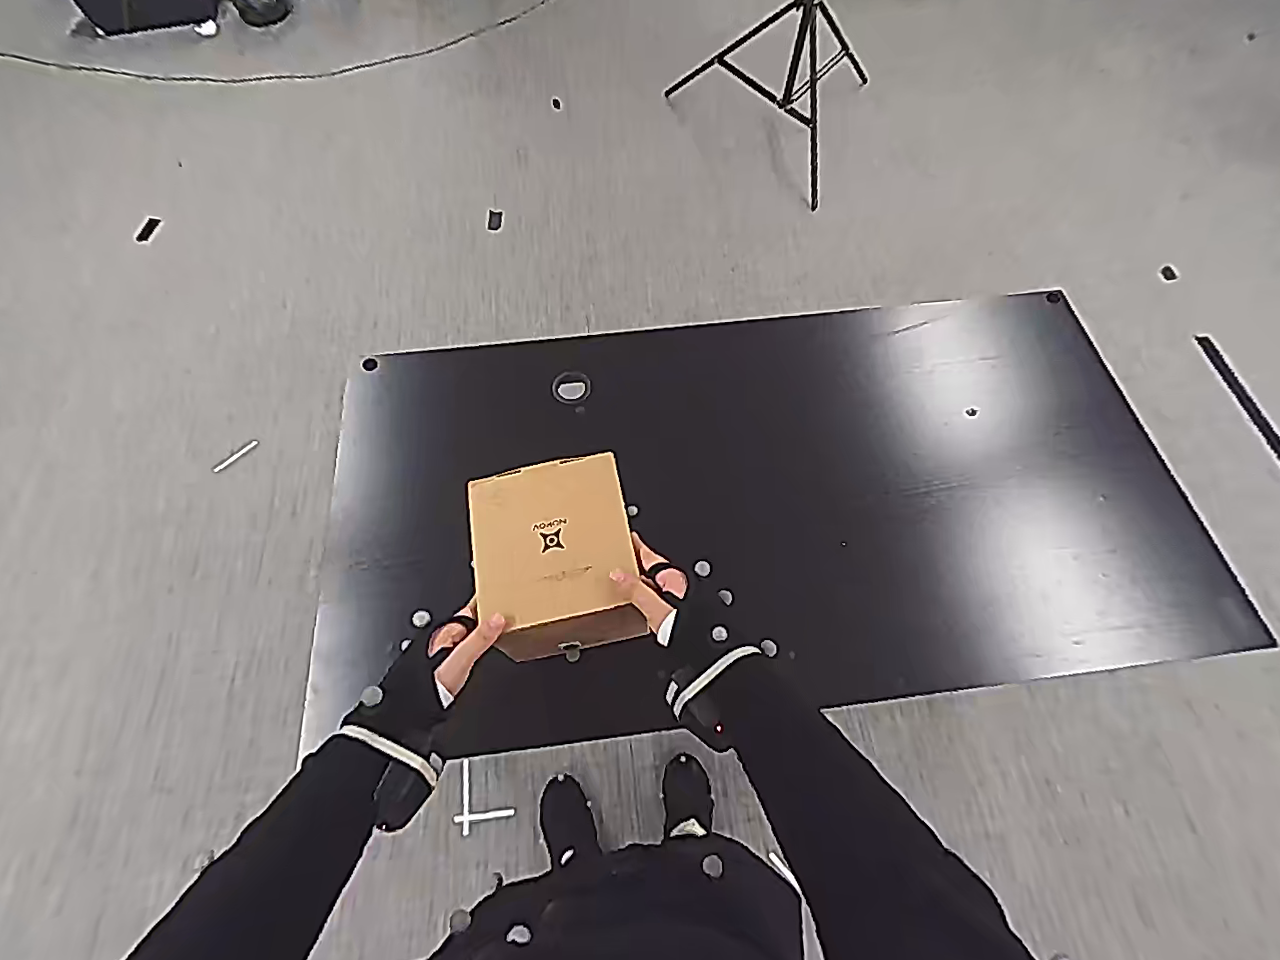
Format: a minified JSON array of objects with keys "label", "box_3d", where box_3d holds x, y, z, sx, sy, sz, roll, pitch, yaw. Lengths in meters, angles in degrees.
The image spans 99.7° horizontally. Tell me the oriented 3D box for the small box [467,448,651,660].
[{"label":"small box","box_3d":[-0.086,0.091,0.623,0.168,0.176,0.179,-13,64,-3]}]
